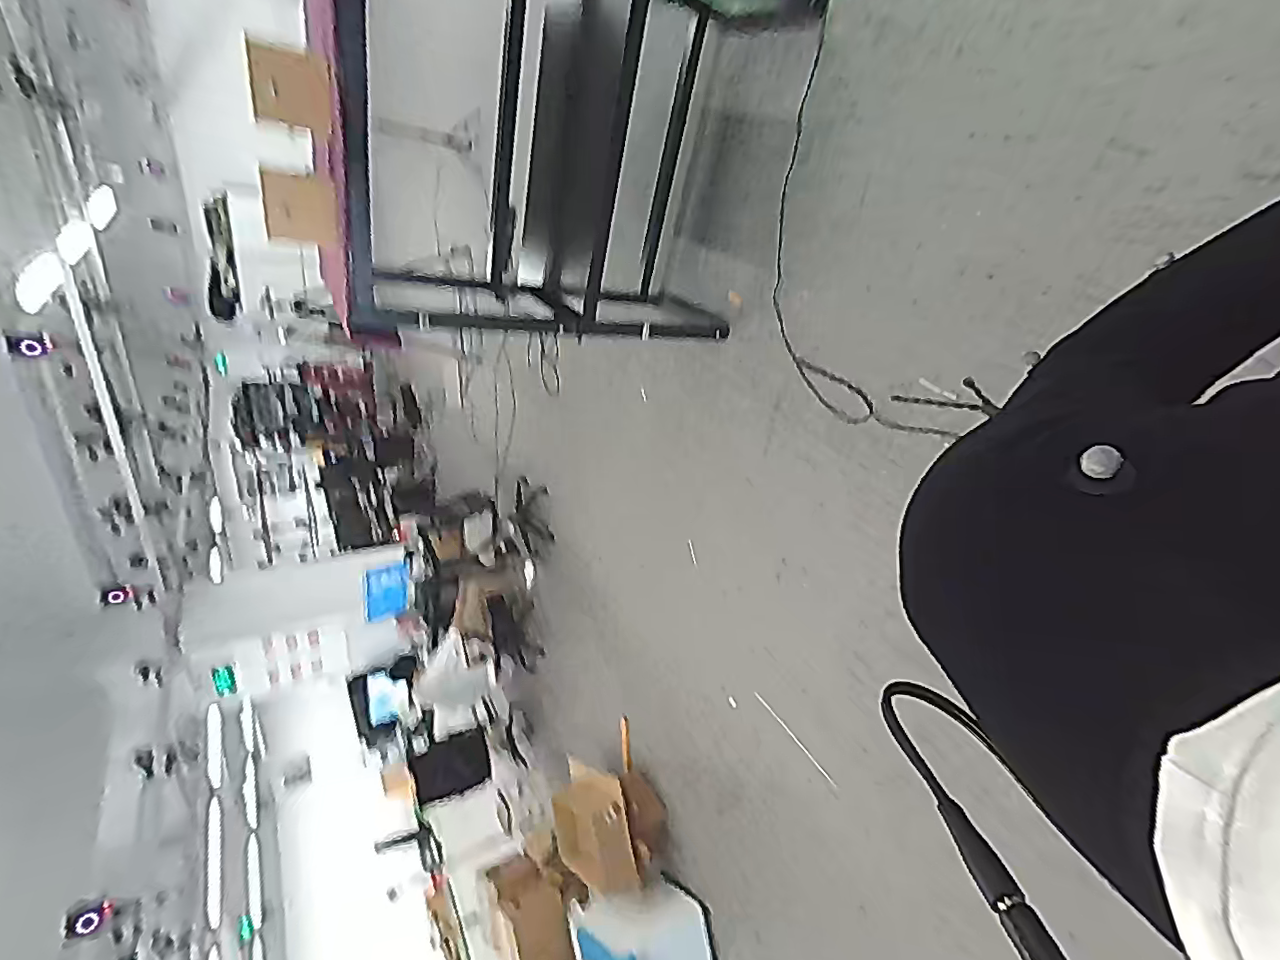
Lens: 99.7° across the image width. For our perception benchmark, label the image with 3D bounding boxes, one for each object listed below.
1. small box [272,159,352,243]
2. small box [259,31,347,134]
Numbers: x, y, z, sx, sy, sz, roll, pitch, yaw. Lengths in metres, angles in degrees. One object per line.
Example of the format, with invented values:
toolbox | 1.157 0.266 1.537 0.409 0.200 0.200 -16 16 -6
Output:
small box | -0.898 -0.762 1.485 0.168 0.176 0.179 43 130 44
small box | -0.836 -0.984 1.347 0.168 0.176 0.179 46 132 43
